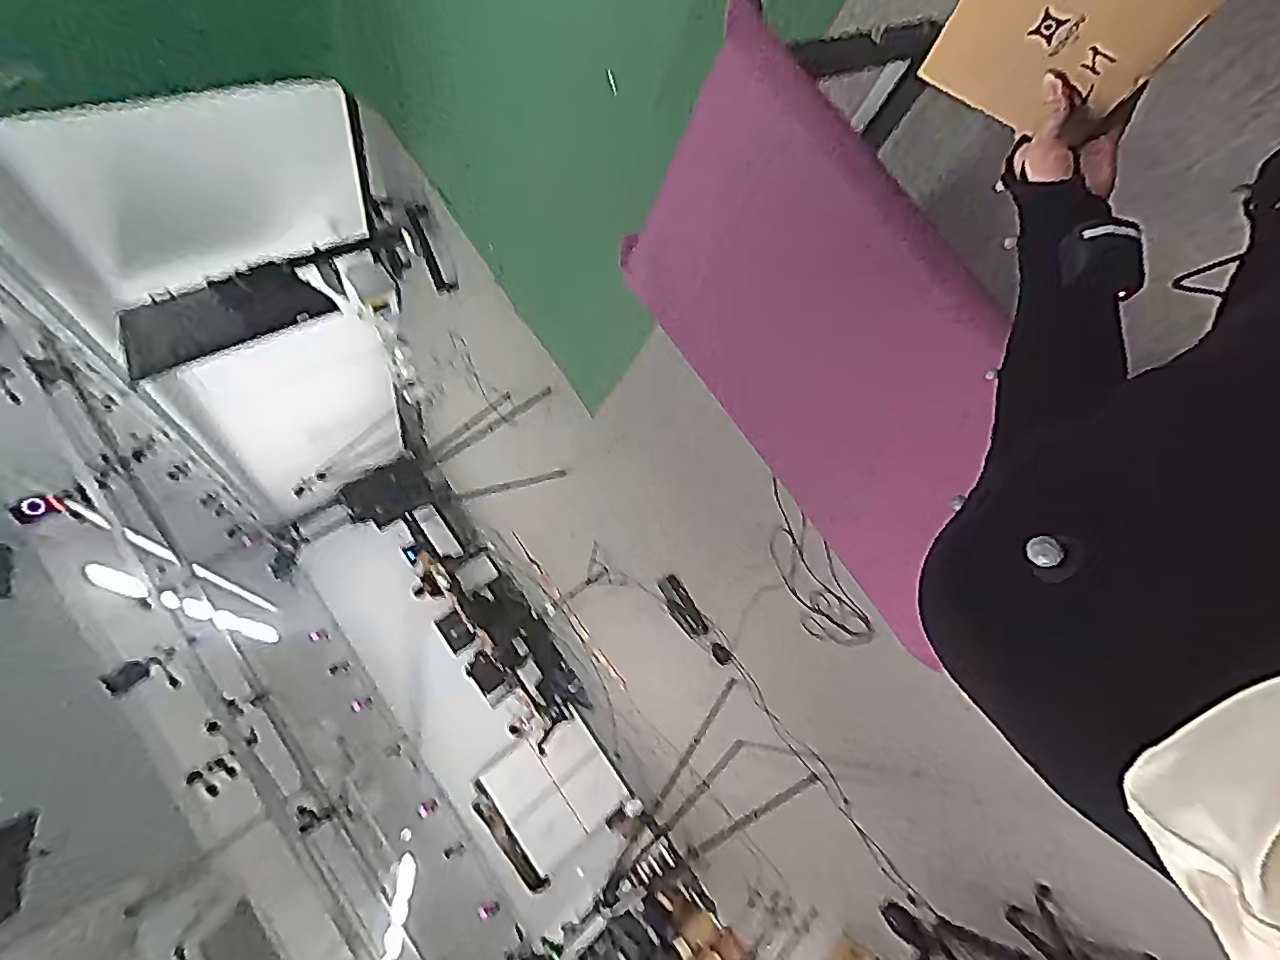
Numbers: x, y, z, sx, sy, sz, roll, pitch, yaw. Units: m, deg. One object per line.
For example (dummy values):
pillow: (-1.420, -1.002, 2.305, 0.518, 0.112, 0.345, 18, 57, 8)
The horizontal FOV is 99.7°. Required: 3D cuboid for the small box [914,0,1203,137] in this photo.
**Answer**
small box: (0.393, -0.465, 0.476, 0.179, 0.176, 0.168, 32, 168, 3)
